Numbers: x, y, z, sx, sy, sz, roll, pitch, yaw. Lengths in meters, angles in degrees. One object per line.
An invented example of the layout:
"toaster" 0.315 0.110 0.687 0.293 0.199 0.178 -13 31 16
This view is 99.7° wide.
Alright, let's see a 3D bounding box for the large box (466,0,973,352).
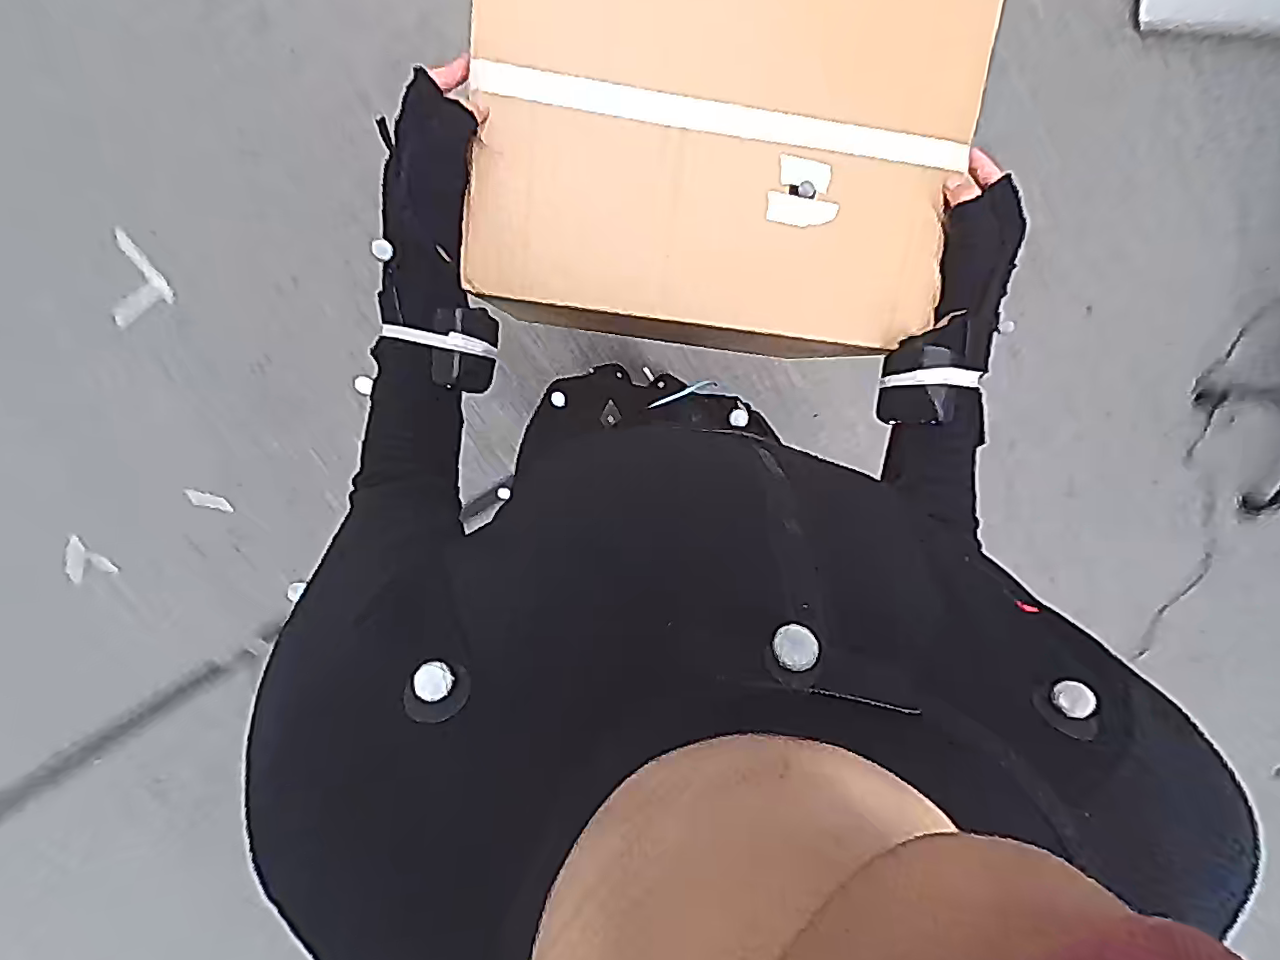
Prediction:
"large box" 0.047 -0.314 0.585 0.408 0.320 0.320 4 103 -7
